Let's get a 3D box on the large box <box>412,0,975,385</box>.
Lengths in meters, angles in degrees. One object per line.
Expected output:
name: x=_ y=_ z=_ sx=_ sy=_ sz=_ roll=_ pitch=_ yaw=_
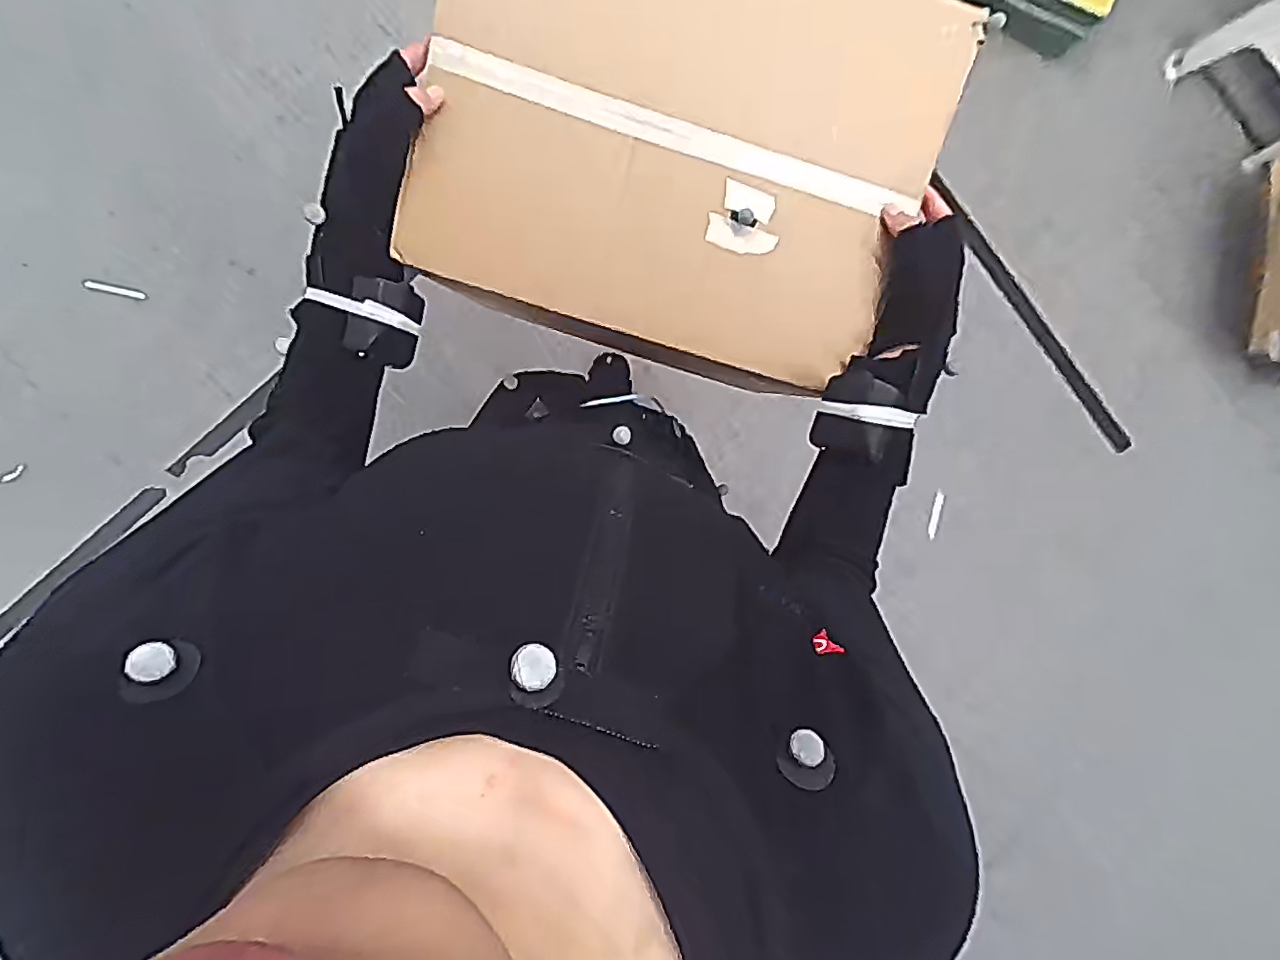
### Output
large box: x=0.032 y=-0.307 z=0.587 sx=0.408 sy=0.320 sz=0.320 roll=17 pitch=100 yaw=-6
